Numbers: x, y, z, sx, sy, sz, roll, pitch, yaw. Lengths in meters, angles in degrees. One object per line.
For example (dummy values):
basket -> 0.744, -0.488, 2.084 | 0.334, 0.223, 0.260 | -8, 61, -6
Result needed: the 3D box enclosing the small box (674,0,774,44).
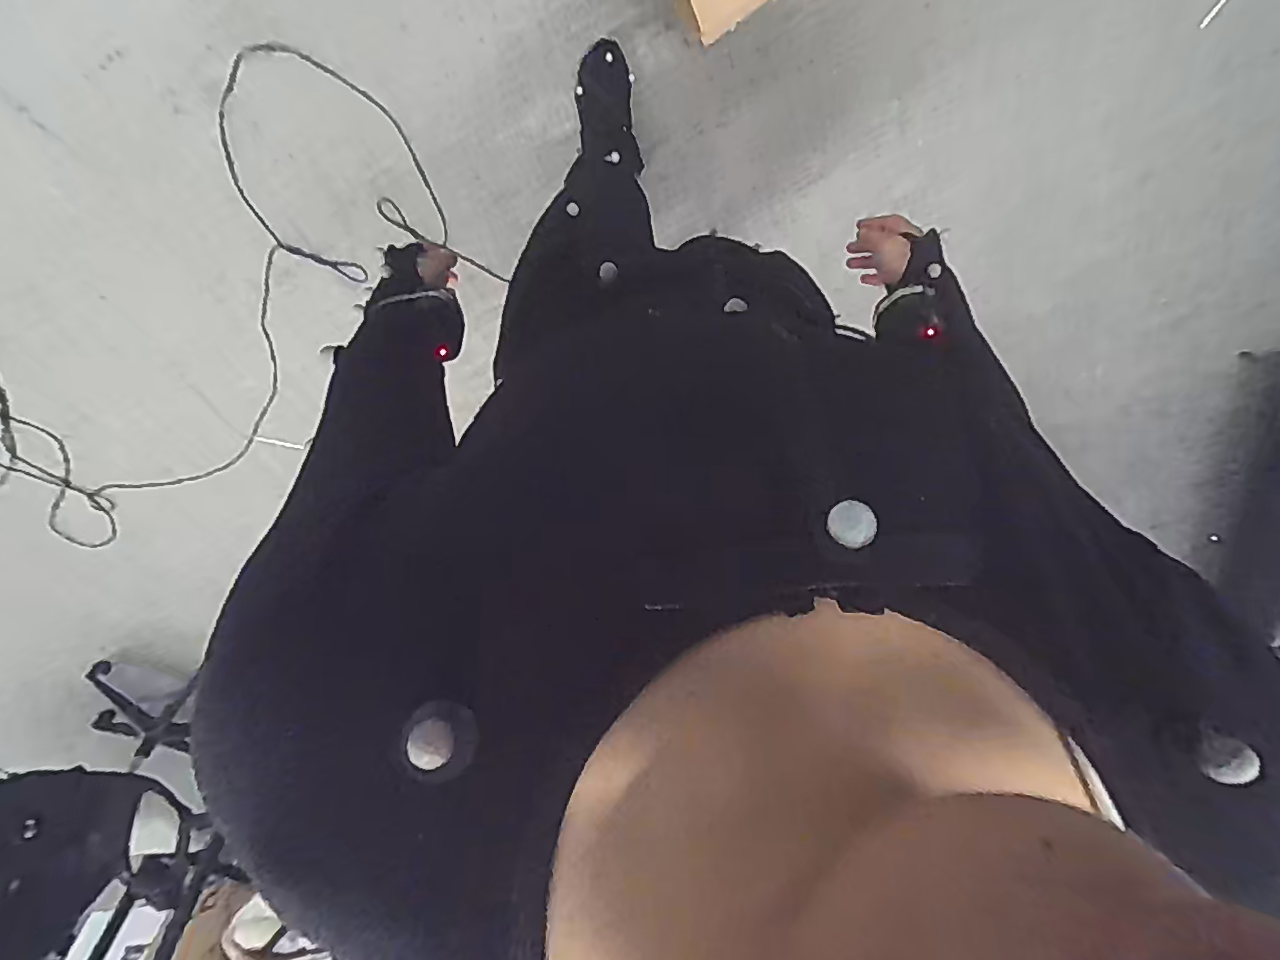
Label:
small box -> 0.135, -0.800, 0.816 | 0.179, 0.176, 0.168 | -24, 125, 14
